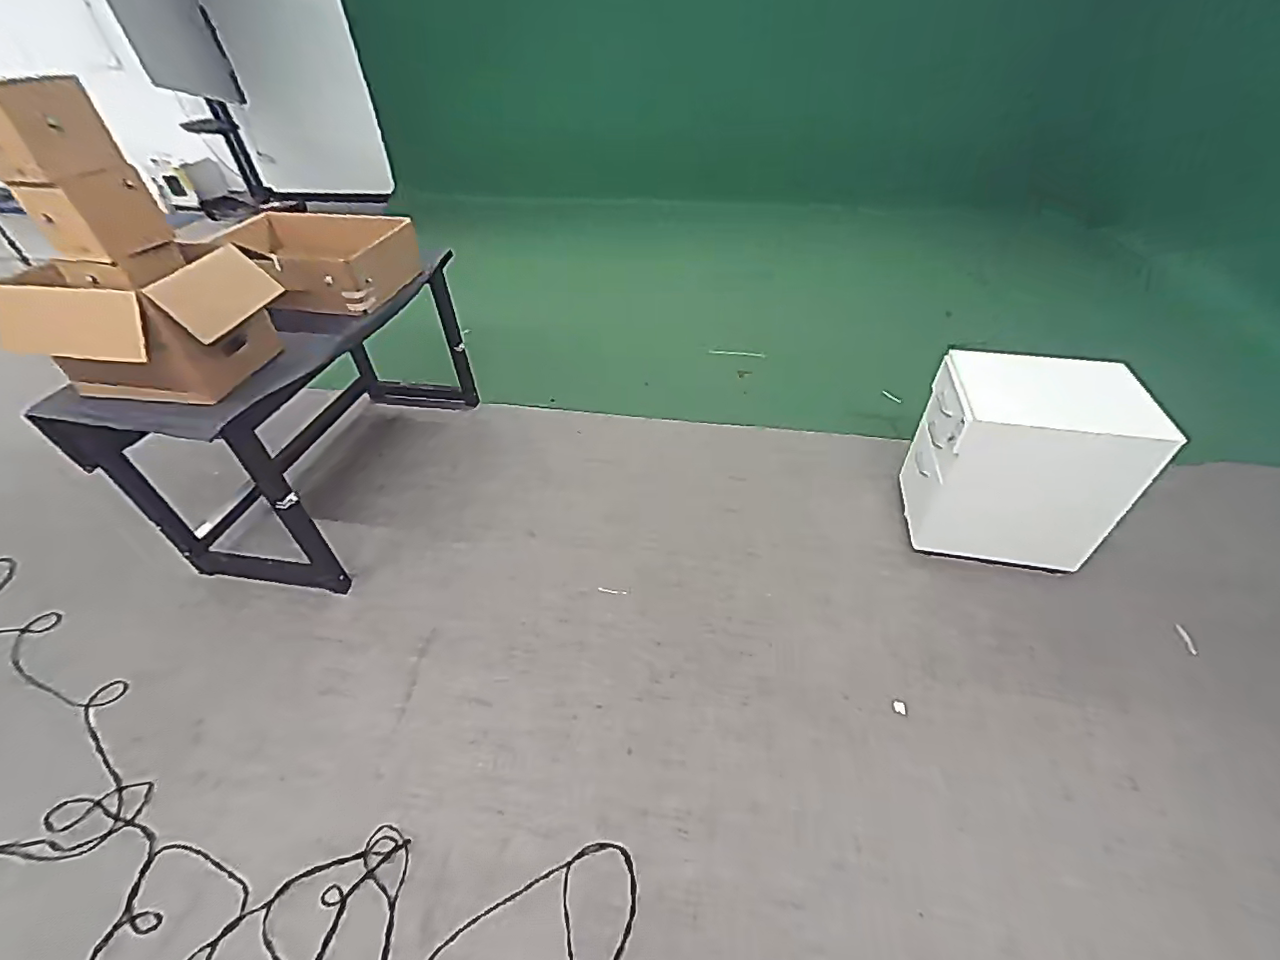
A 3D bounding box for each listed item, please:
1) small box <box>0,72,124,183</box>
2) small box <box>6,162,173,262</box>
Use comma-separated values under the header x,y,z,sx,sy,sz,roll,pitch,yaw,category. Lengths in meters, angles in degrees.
x,y,z,sx,sy,sz,roll,pitch,yaw,category
-1.260,-0.734,1.128,0.168,0.176,0.179,9,44,11,small box
-1.249,-0.618,1.244,0.168,0.176,0.179,10,44,13,small box
